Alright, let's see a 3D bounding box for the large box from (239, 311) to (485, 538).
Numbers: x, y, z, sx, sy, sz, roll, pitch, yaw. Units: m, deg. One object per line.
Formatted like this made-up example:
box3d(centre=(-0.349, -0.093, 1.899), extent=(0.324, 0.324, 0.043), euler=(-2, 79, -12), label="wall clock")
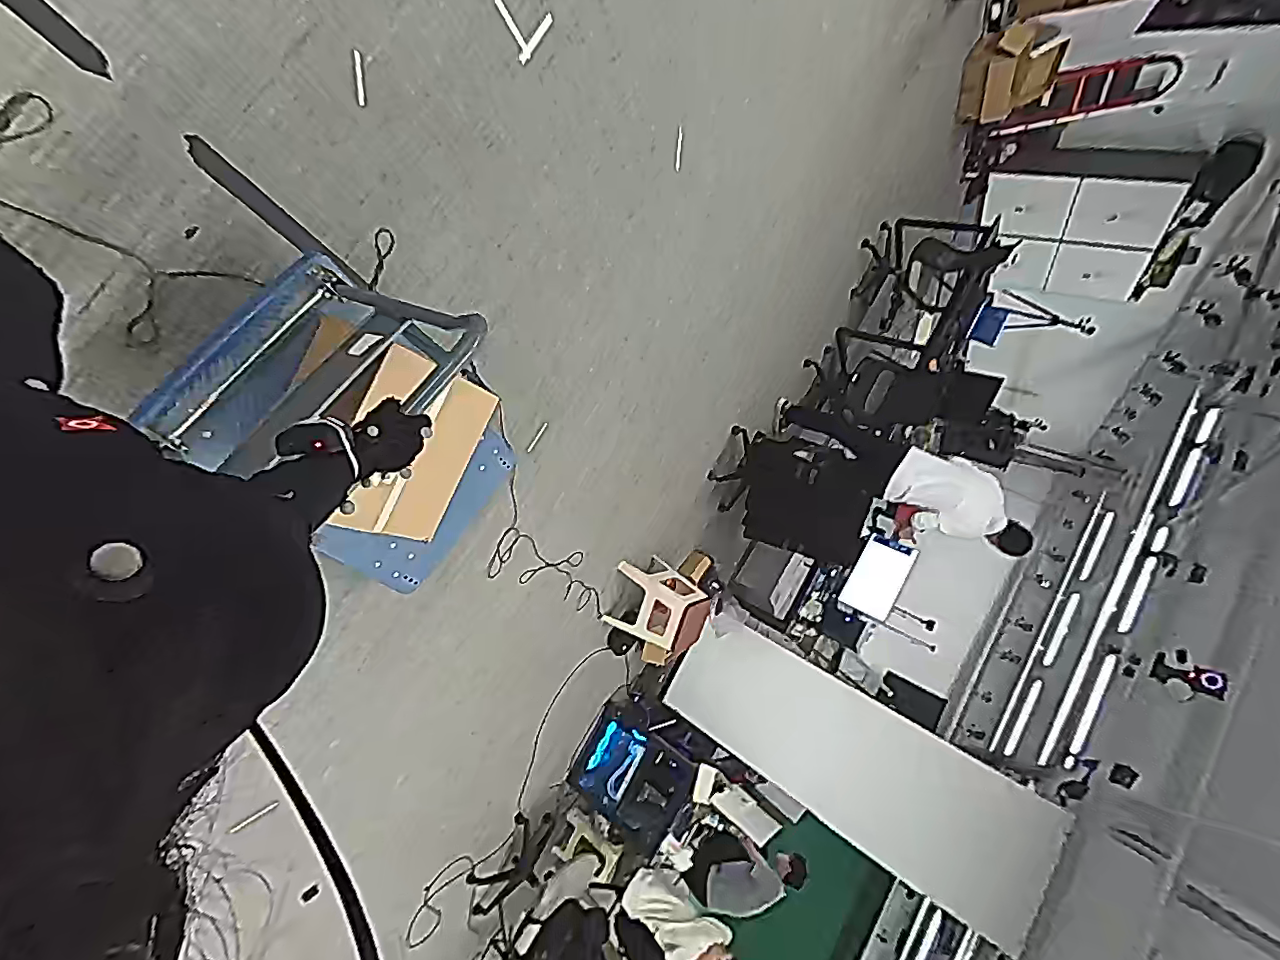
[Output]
box3d(centre=(-0.651, -0.125, 1.285), extent=(0.320, 0.320, 0.408), euler=(28, 88, -58), label="large box")
